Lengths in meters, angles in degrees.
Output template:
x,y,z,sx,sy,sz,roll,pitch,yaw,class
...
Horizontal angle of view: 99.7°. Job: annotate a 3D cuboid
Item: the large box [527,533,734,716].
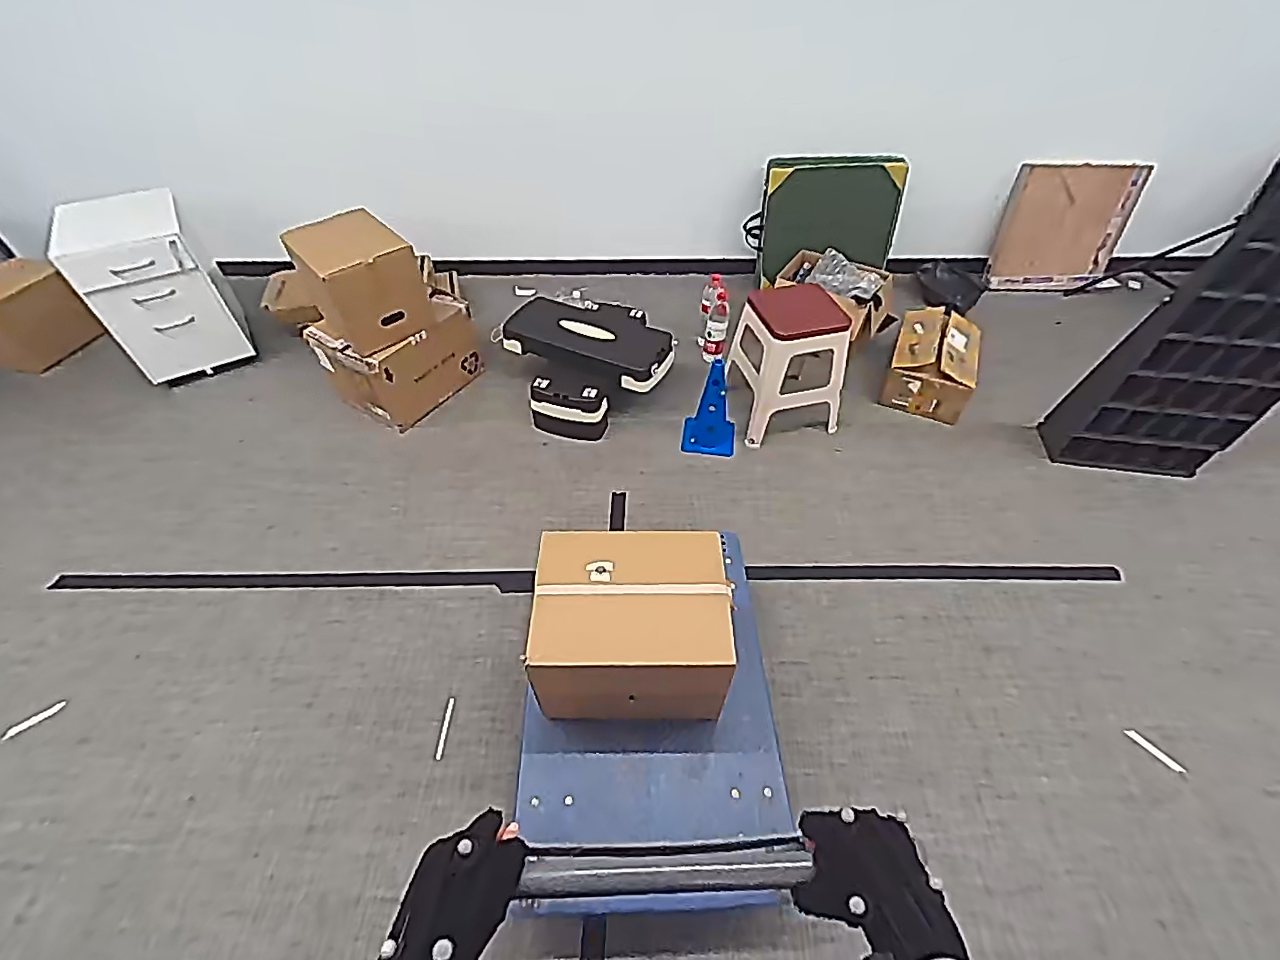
x,y,z,sx,sy,sz,roll,pitch,yaw,class
-0.018,0.336,1.242,0.408,0.320,0.320,0,49,0,large box
